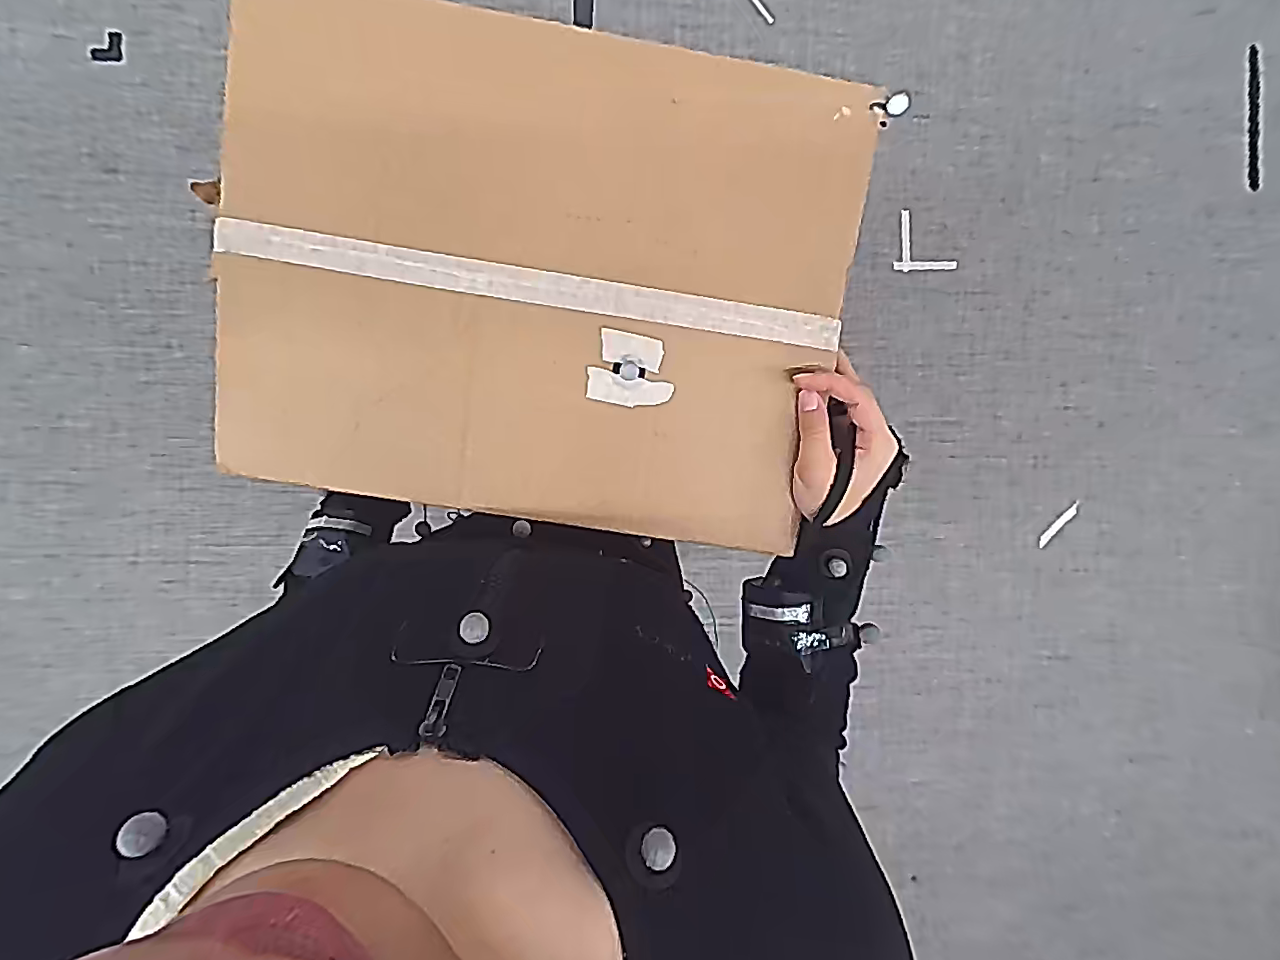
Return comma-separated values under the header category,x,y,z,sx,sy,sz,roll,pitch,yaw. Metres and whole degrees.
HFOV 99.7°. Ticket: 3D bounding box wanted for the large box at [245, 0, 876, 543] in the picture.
category,x,y,z,sx,sy,sz,roll,pitch,yaw
large box,-0.066,-0.147,0.513,0.408,0.320,0.320,8,99,-4
